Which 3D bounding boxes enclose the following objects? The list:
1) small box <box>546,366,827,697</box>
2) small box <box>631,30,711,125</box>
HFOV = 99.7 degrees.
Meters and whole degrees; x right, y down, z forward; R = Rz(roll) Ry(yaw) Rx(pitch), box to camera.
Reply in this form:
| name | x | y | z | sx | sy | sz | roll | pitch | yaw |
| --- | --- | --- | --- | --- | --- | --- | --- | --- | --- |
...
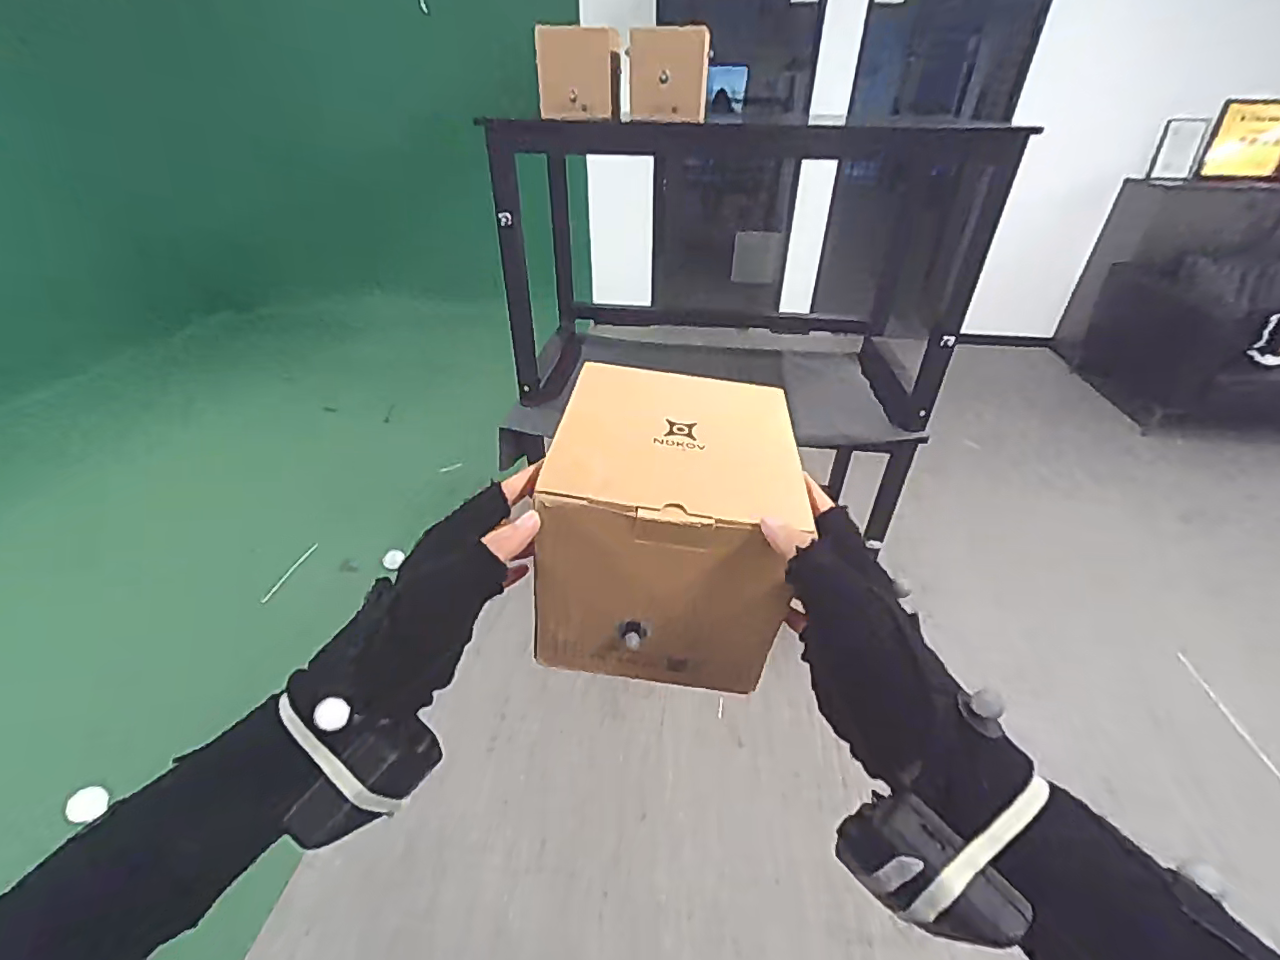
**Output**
| name | x | y | z | sx | sy | sz | roll | pitch | yaw |
| --- | --- | --- | --- | --- | --- | --- | --- | --- | --- |
| small box | 0.024 | 0.035 | 0.419 | 0.168 | 0.176 | 0.179 | 8 | 38 | 0 |
| small box | 0.074 | -0.927 | 1.251 | 0.168 | 0.176 | 0.179 | 6 | 36 | 6 |
